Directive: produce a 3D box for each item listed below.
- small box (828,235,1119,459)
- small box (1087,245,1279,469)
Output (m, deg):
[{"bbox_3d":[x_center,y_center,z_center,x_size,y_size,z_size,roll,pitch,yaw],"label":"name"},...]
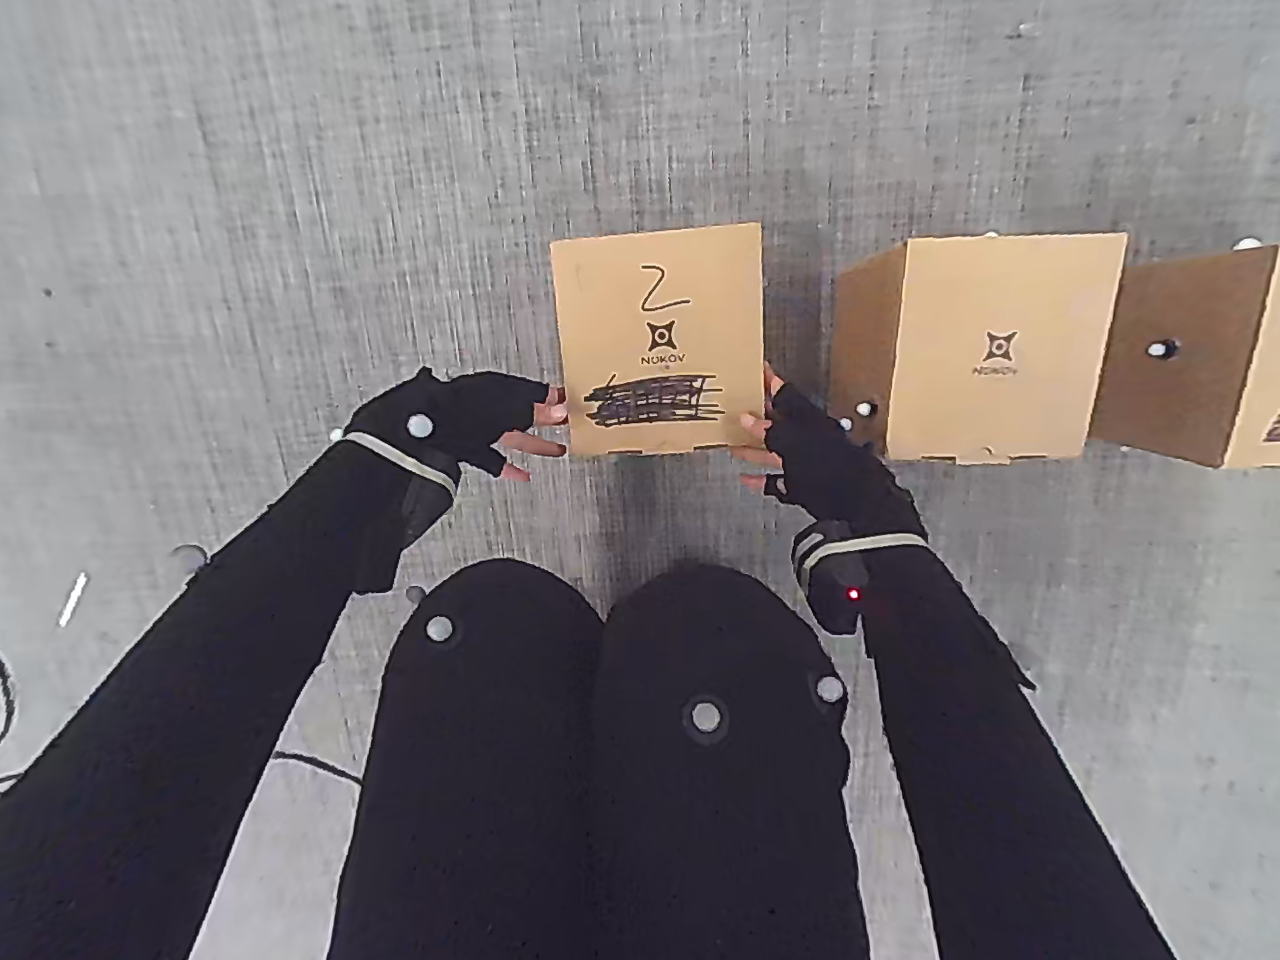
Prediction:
[{"bbox_3d":[0.288,-0.121,0.512,0.168,0.176,0.179,-1,105,2],"label":"small box"},{"bbox_3d":[0.557,-0.114,0.503,0.168,0.176,0.179,-1,104,2],"label":"small box"}]
